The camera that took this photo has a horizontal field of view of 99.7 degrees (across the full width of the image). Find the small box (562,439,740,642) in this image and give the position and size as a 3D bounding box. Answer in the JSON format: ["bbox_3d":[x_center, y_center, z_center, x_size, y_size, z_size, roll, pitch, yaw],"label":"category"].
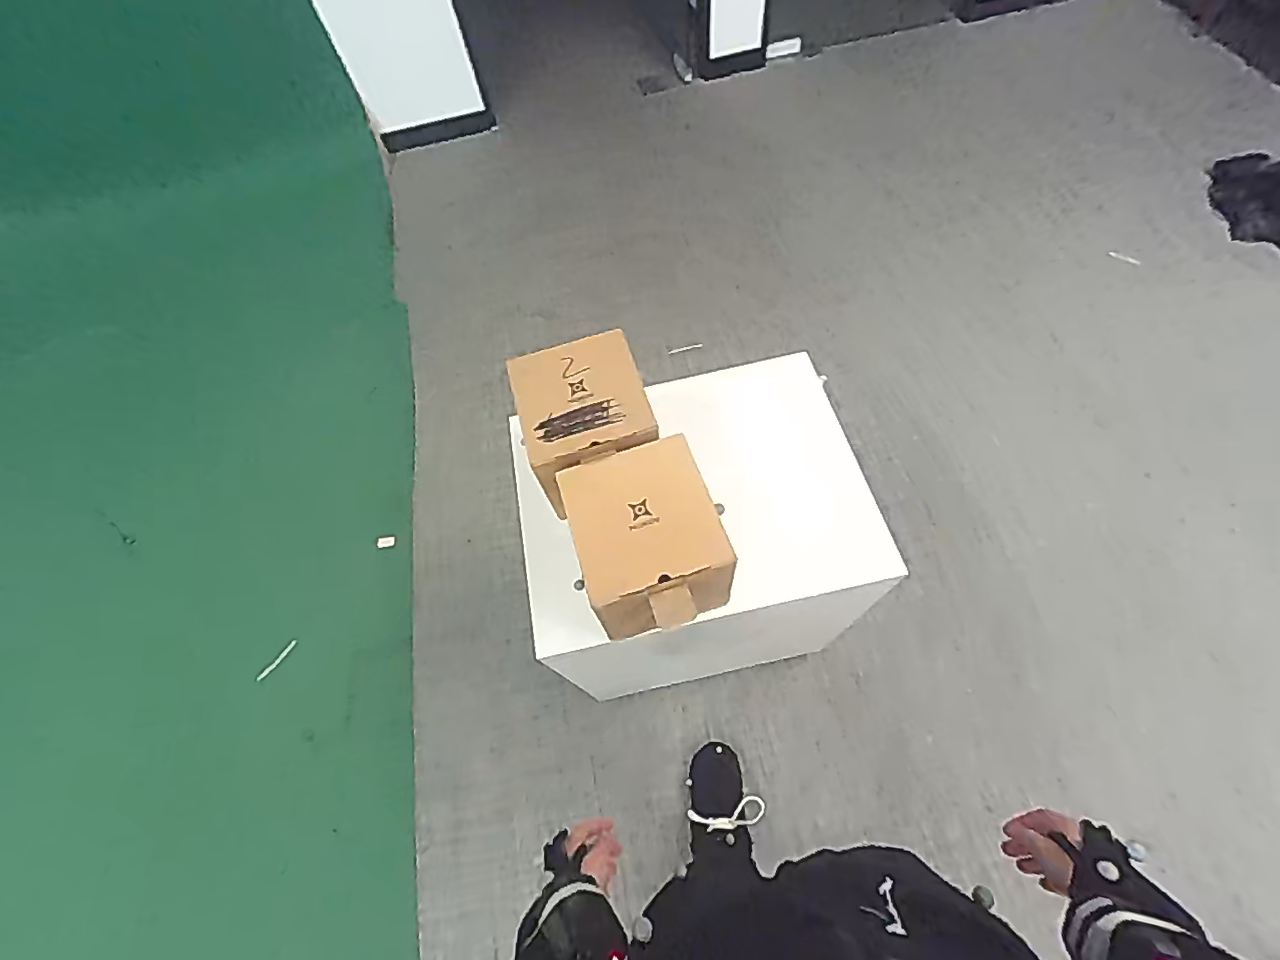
[{"bbox_3d":[0.011,0.081,0.681,0.168,0.176,0.179,-17,61,-5],"label":"small box"}]
